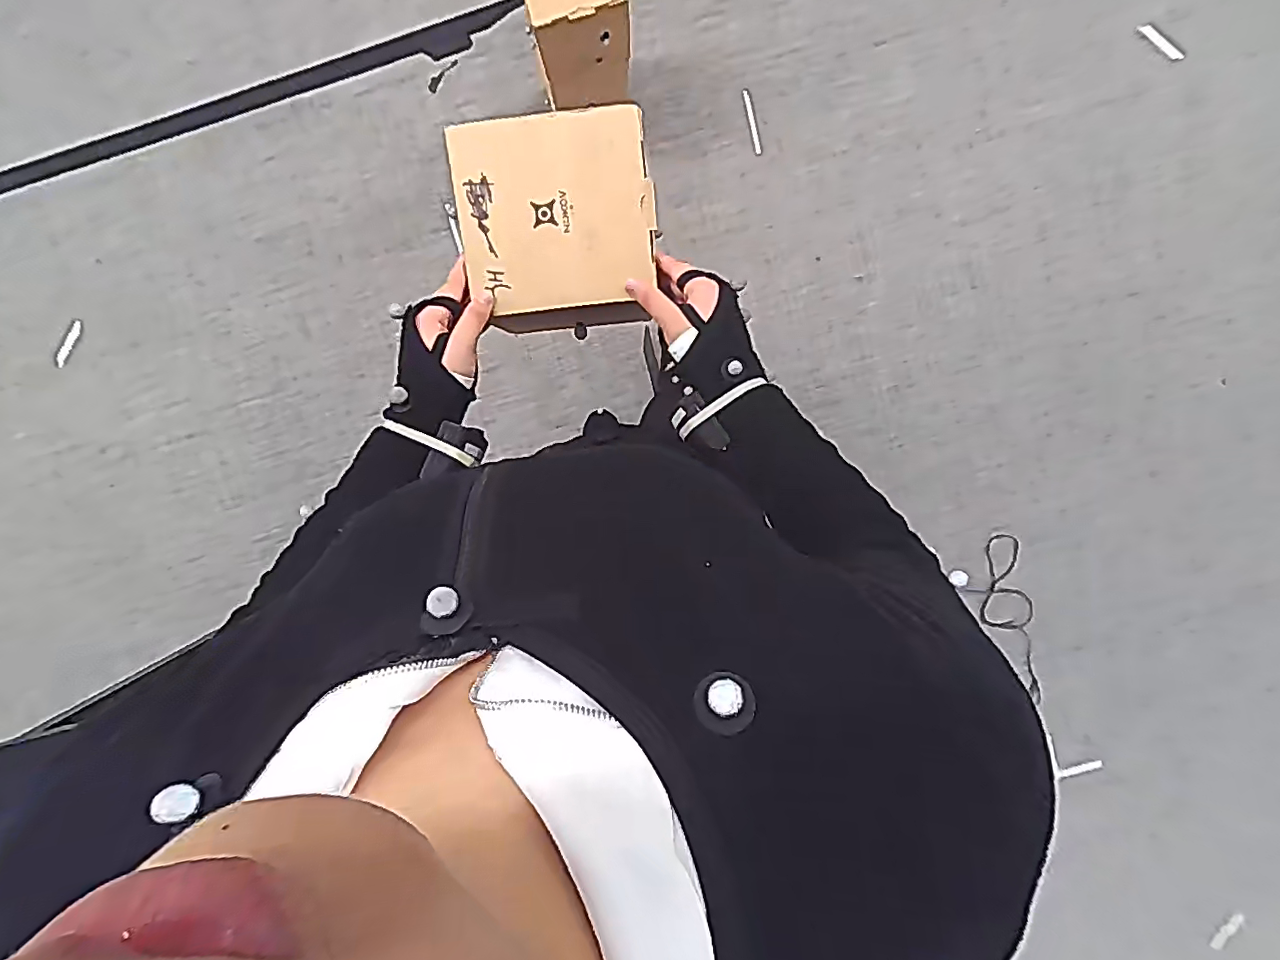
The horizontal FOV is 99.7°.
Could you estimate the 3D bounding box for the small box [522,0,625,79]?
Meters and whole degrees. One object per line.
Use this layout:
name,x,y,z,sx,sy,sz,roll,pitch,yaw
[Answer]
small box,-0.124,-0.849,0.951,0.168,0.176,0.179,-16,98,1

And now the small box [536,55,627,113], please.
small box,-0.128,-0.873,1.112,0.168,0.176,0.179,-15,100,2

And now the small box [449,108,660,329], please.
small box,-0.078,-0.256,0.568,0.179,0.176,0.168,-6,100,-1
